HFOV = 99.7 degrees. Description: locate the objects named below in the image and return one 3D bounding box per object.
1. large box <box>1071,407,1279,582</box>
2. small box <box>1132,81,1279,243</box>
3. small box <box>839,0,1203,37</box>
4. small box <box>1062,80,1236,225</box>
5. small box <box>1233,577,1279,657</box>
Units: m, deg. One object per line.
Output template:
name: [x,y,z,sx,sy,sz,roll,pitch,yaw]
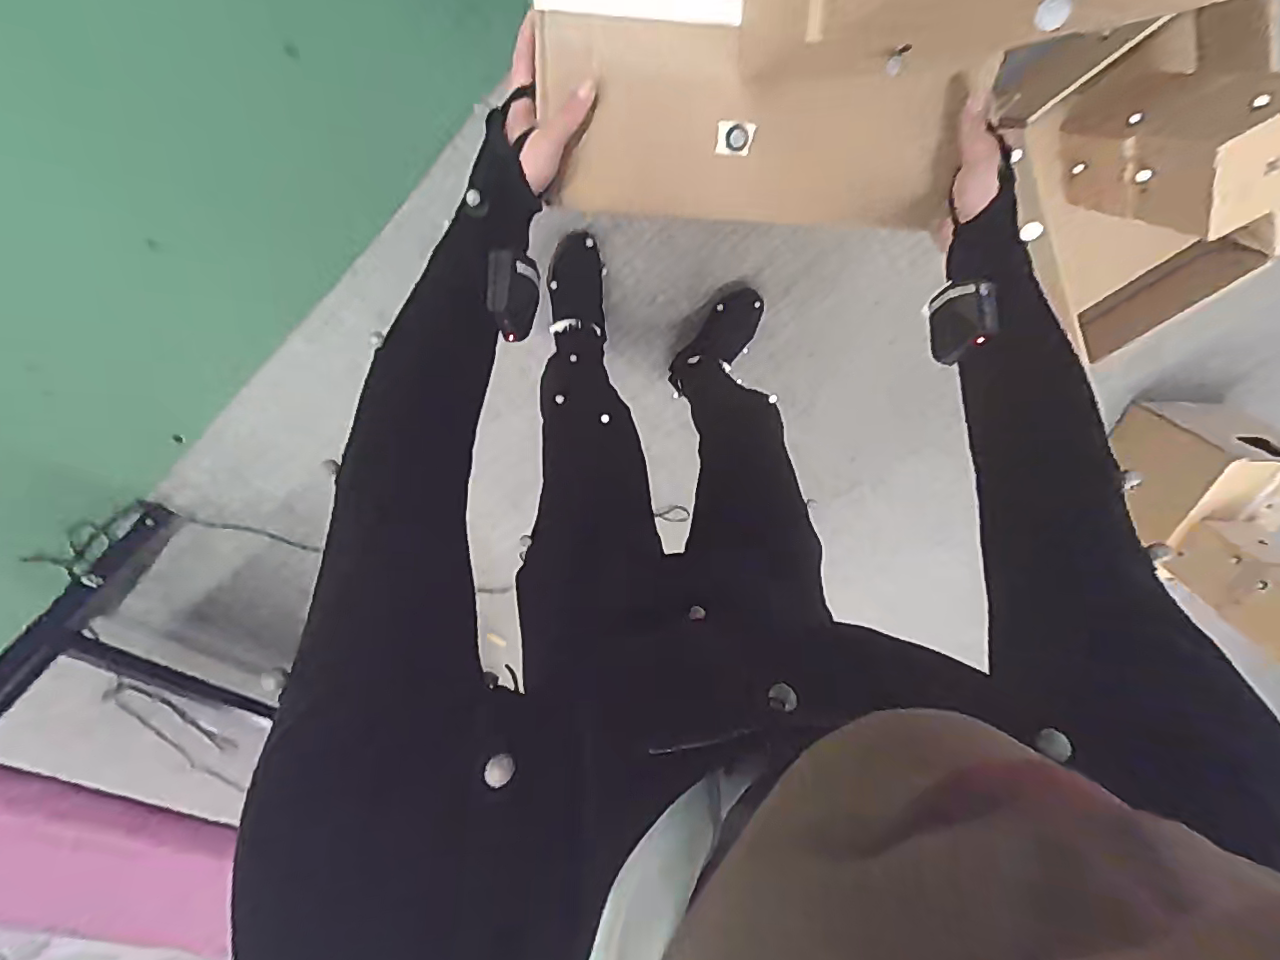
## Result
large box: [1.559,0.037,1.538,0.320,0.320,0.408,-1,123,-6]
small box: [0.989,-0.538,0.909,0.179,0.176,0.168,-28,125,14]
small box: [0.198,-0.291,0.208,0.179,0.176,0.168,-3,121,-2]
small box: [0.968,-0.633,1.040,0.179,0.176,0.168,-31,125,17]
small box: [1.552,0.327,1.237,0.179,0.176,0.168,1,124,-7]
